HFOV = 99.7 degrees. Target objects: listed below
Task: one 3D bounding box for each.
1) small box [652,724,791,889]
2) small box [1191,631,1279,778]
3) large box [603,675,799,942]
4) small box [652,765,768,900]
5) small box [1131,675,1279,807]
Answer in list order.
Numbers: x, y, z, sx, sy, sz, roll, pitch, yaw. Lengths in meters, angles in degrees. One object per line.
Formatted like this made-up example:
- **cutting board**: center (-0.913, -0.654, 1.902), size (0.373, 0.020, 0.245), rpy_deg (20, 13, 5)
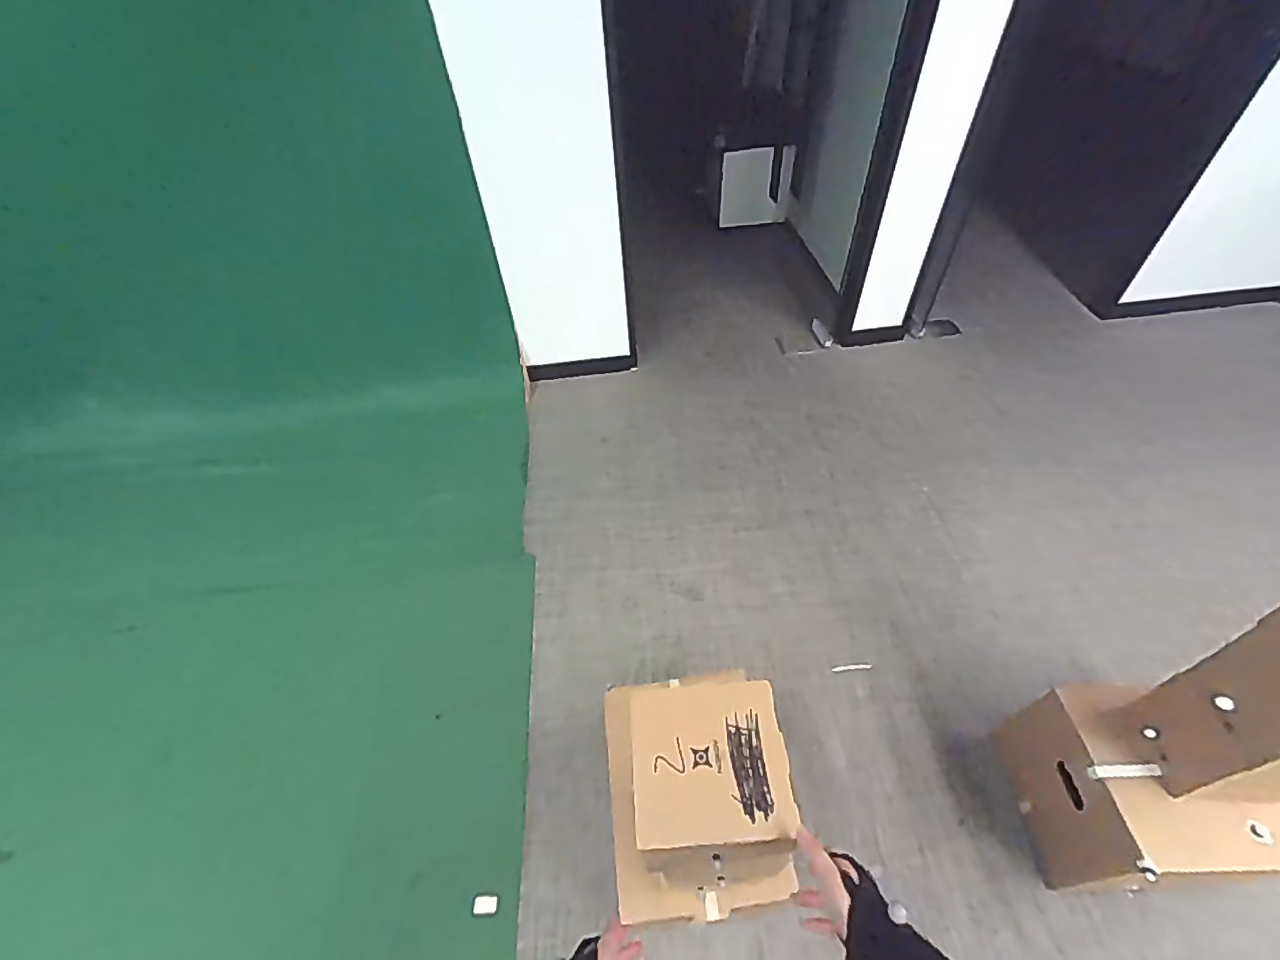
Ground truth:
- **small box**: center (0.111, 0.480, 0.789), size (0.168, 0.176, 0.179), rpy_deg (-6, 47, -1)
- **small box**: center (1.036, 0.351, 0.832), size (0.179, 0.176, 0.168), rpy_deg (1, 46, 6)
- **large box**: center (0.108, 0.691, 1.150), size (0.320, 0.320, 0.408), rpy_deg (-7, 47, -2)
- **small box**: center (0.113, 0.590, 0.912), size (0.168, 0.176, 0.179), rpy_deg (-6, 47, 0)
- **small box**: center (1.043, 0.462, 0.953), size (0.179, 0.176, 0.168), rpy_deg (0, 46, 5)
